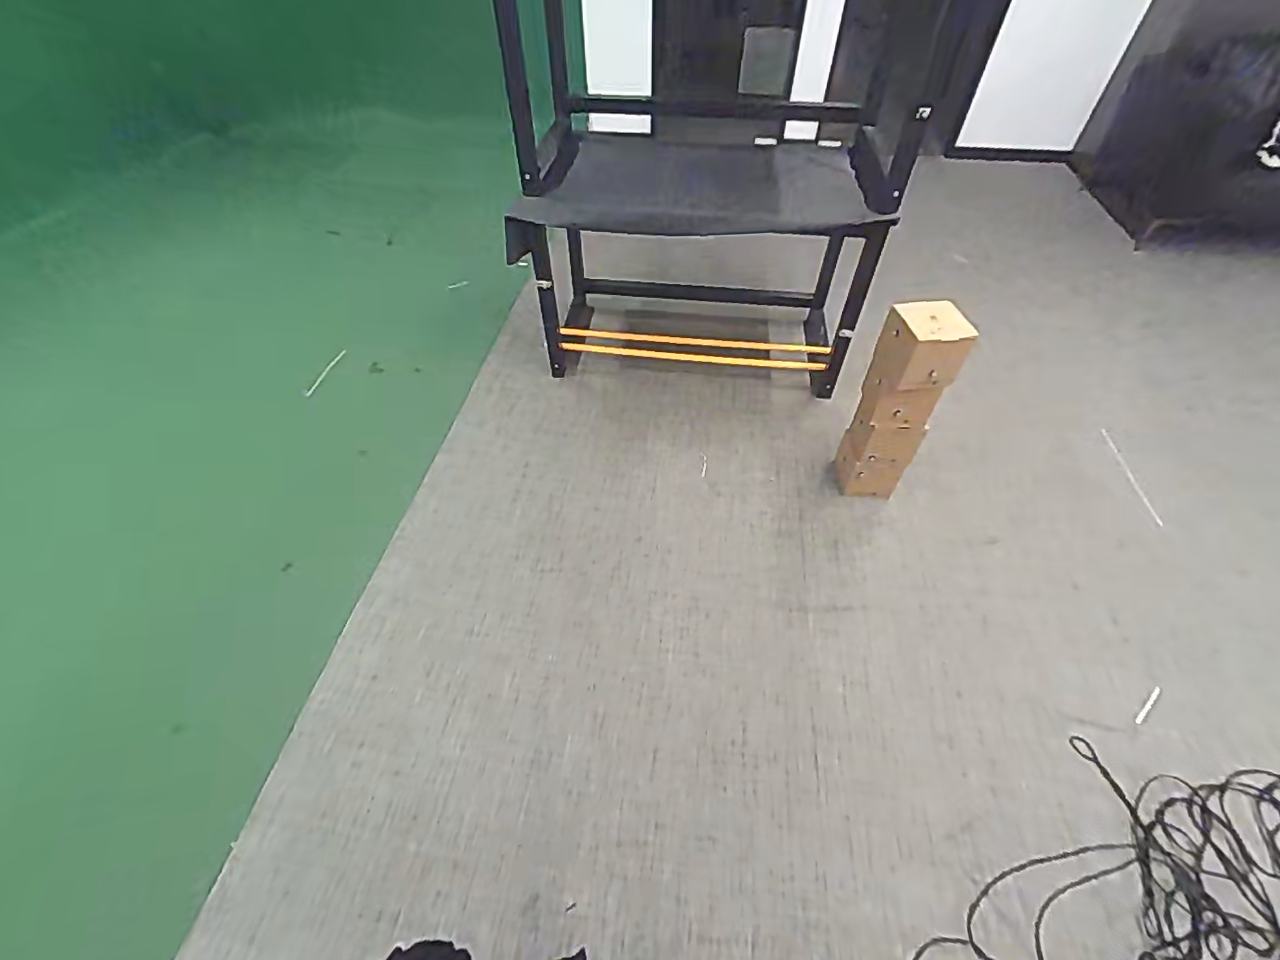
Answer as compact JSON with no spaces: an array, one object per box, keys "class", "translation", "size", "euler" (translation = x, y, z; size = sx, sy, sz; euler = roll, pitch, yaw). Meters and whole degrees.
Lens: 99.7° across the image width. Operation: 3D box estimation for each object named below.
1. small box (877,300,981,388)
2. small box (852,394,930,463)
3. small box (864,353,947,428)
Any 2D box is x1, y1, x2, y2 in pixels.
[{"class":"small box","translation":[0.784,-0.374,1.492],"size":[0.168,0.176,0.179],"euler":[-5,50,-3]},{"class":"small box","translation":[0.803,-0.170,1.746],"size":[0.168,0.176,0.179],"euler":[3,49,3]},{"class":"small box","translation":[0.789,-0.282,1.628],"size":[0.168,0.176,0.179],"euler":[5,50,5]}]
